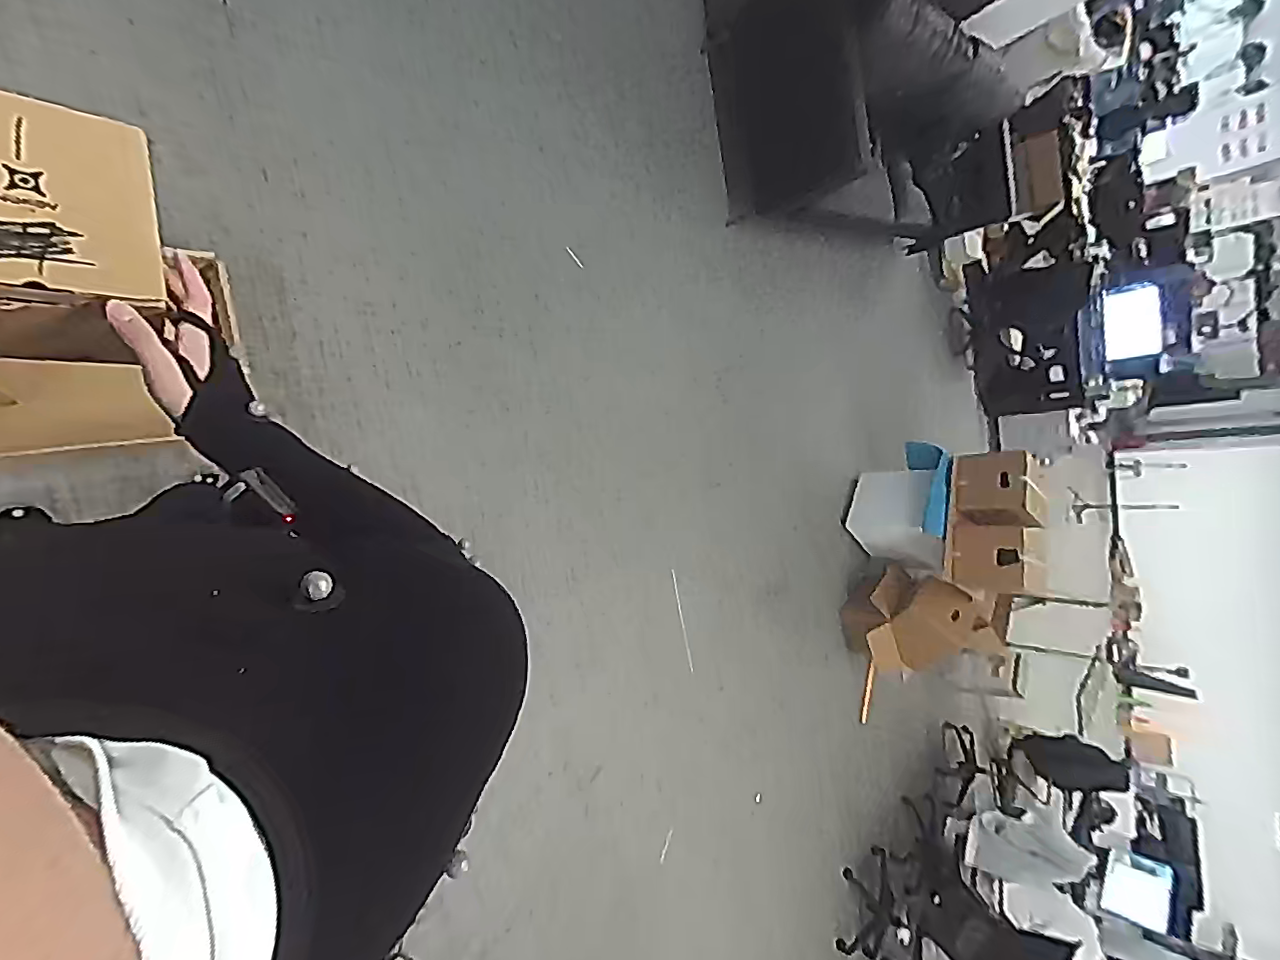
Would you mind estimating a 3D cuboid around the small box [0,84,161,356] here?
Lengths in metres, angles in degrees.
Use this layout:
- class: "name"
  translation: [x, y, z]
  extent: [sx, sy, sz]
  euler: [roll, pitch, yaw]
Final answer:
- class: "small box"
  translation: [-0.557, -0.224, 0.494]
  extent: [0.168, 0.176, 0.179]
  euler: [-7, 85, -45]
